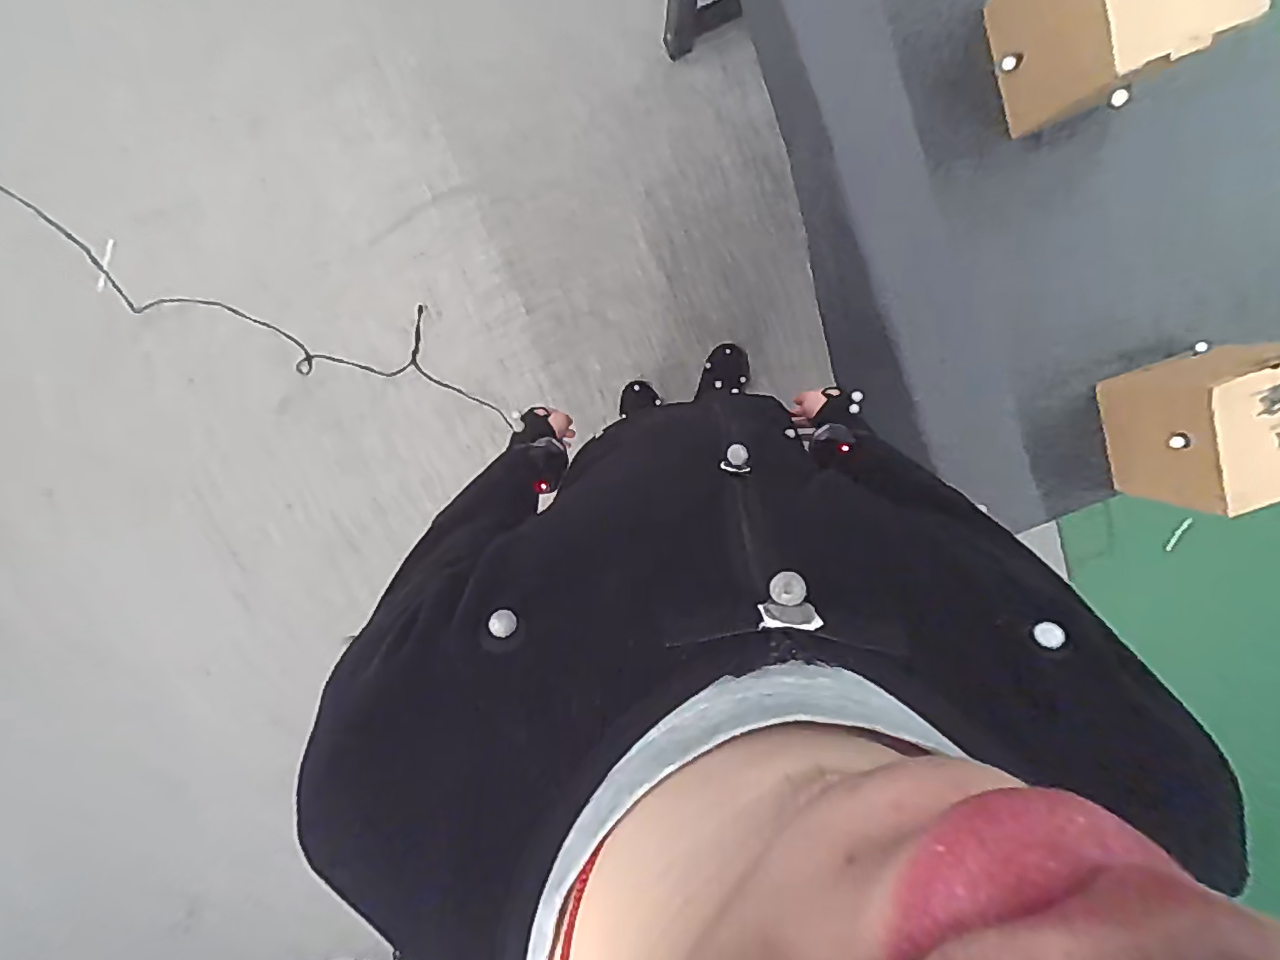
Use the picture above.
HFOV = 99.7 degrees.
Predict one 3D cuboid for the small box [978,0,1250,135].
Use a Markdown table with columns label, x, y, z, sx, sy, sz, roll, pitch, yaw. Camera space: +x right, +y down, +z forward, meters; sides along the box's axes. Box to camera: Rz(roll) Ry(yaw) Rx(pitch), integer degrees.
| label | x | y | z | sx | sy | sz | roll | pitch | yaw |
| --- | --- | --- | --- | --- | --- | --- | --- | --- | --- |
| small box | 0.553 | -0.553 | 0.652 | 0.168 | 0.176 | 0.179 | -22 | 101 | 1 |

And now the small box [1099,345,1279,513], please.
| label | x | y | z | sx | sy | sz | roll | pitch | yaw |
| --- | --- | --- | --- | --- | --- | --- | --- | --- | --- |
| small box | 0.787 | -0.077 | 0.746 | 0.168 | 0.176 | 0.179 | -20 | 101 | 1 |
